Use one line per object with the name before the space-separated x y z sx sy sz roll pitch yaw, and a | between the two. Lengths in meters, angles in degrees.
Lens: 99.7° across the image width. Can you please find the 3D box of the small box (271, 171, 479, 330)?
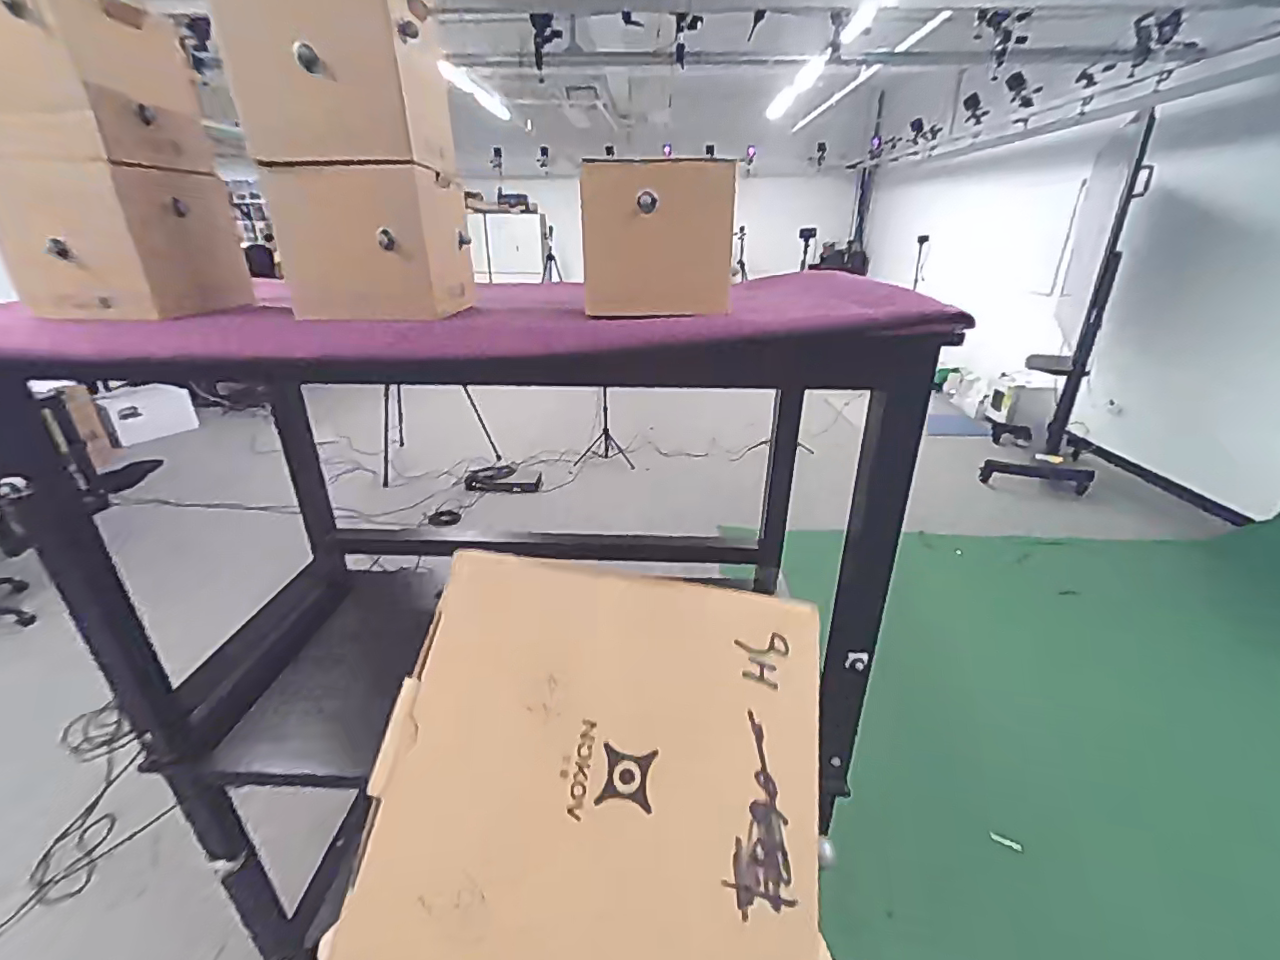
small box | -0.319 -0.292 0.698 0.179 0.176 0.168 0 23 1

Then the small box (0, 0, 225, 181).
small box | -0.644 -0.447 0.631 0.179 0.176 0.168 1 25 -2

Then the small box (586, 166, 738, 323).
small box | 0.030 -0.298 0.708 0.179 0.176 0.168 2 21 3

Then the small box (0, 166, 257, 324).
small box | -0.641 -0.299 0.698 0.168 0.176 0.179 2 24 0

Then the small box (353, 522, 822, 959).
small box | -0.012 0.141 0.304 0.179 0.176 0.168 9 64 3
